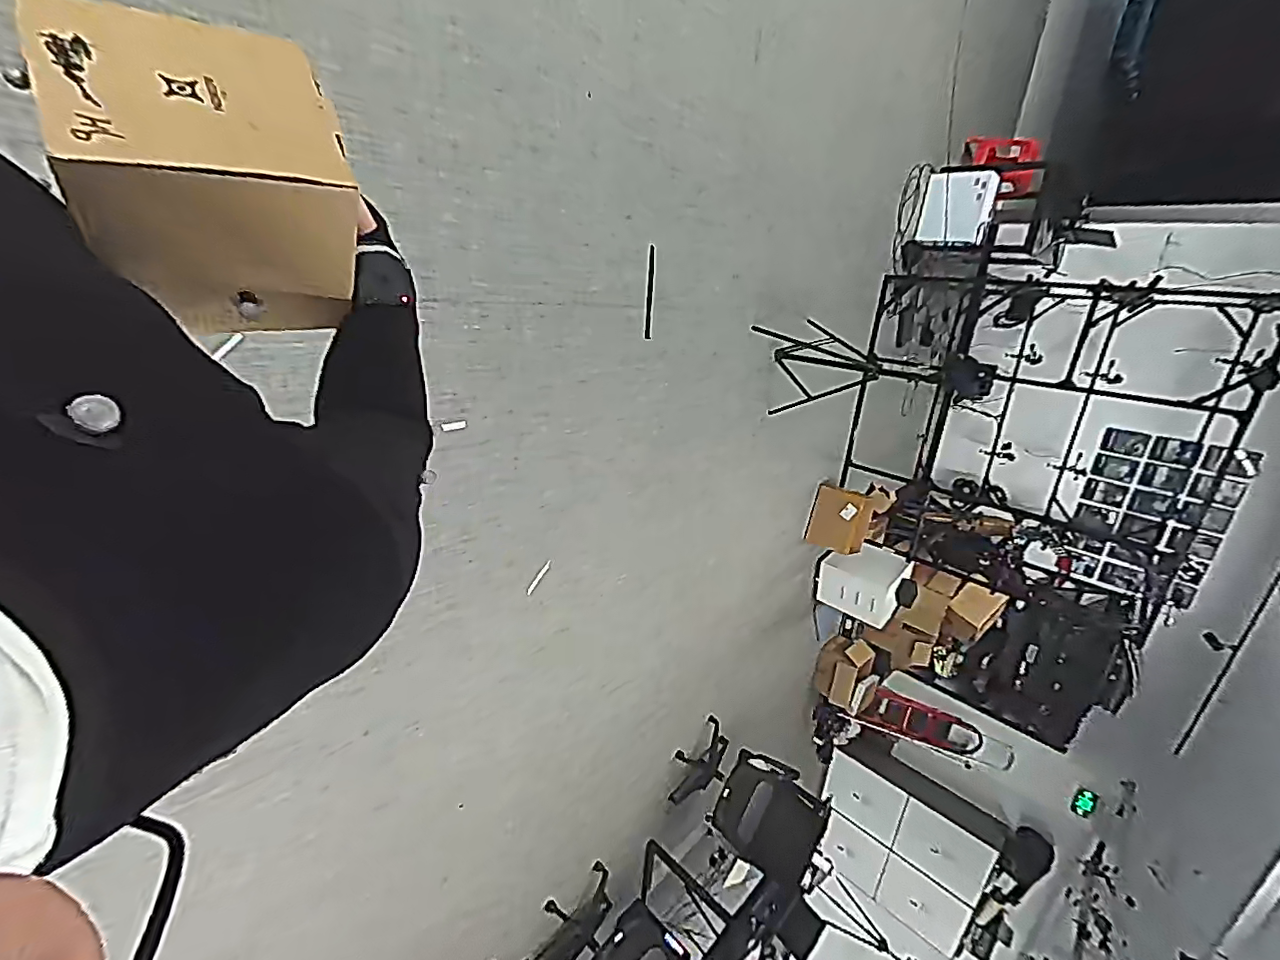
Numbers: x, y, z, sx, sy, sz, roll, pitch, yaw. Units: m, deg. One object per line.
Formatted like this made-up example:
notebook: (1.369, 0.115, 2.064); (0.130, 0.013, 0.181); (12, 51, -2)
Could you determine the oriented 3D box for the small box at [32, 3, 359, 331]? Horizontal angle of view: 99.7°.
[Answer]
small box: (-0.370, -0.250, 0.475); (0.179, 0.168, 0.176); (-15, 161, -36)
